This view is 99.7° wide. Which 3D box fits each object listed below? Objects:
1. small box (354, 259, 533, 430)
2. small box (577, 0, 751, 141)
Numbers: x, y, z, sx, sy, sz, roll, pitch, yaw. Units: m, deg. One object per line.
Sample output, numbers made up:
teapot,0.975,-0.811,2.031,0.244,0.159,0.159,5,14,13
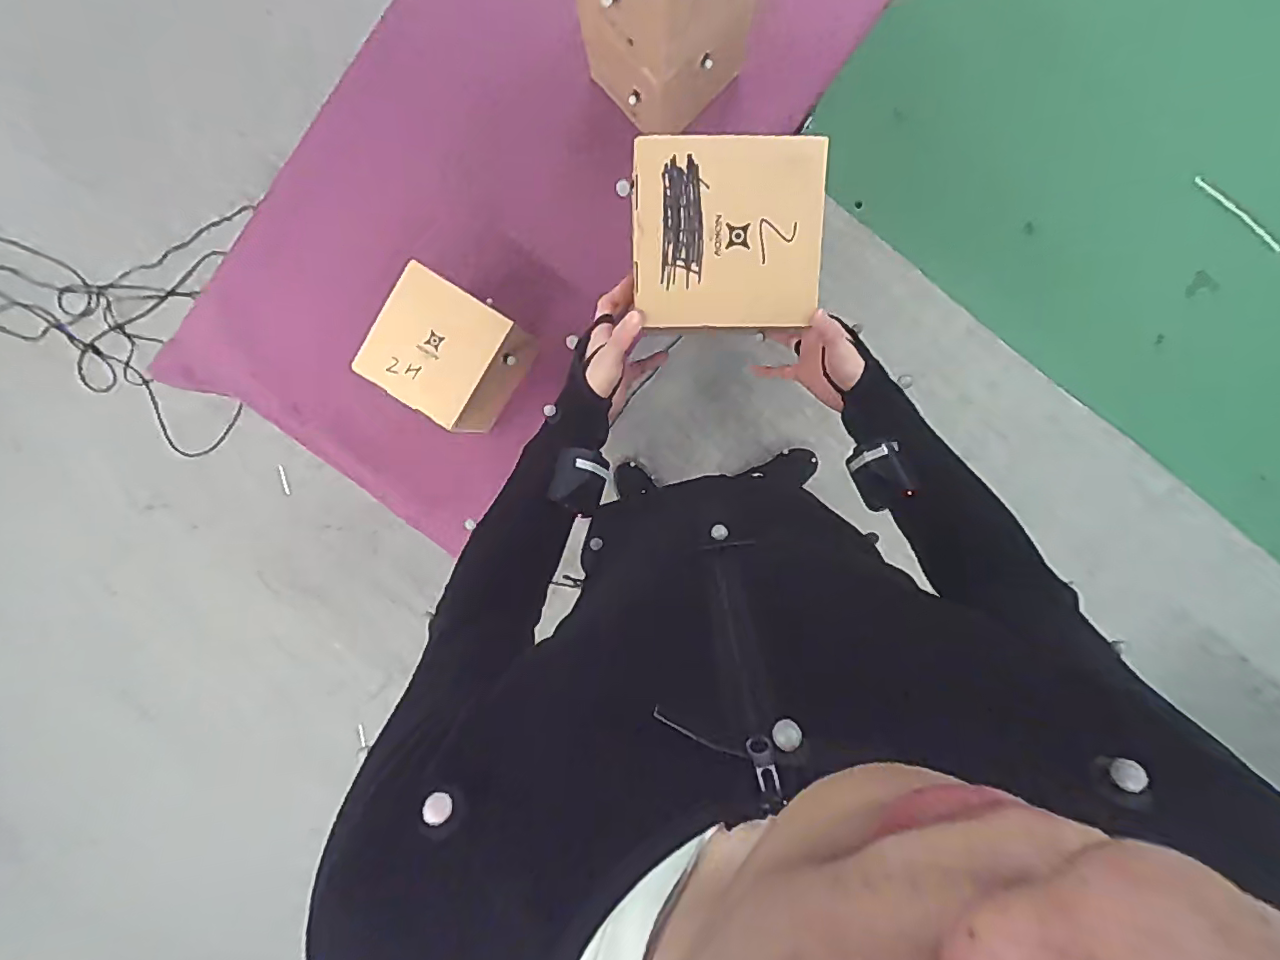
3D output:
small box,-0.278,-0.191,0.814,0.168,0.176,0.179,32,96,0
small box,0.037,-0.633,0.763,0.179,0.176,0.168,-42,92,5
